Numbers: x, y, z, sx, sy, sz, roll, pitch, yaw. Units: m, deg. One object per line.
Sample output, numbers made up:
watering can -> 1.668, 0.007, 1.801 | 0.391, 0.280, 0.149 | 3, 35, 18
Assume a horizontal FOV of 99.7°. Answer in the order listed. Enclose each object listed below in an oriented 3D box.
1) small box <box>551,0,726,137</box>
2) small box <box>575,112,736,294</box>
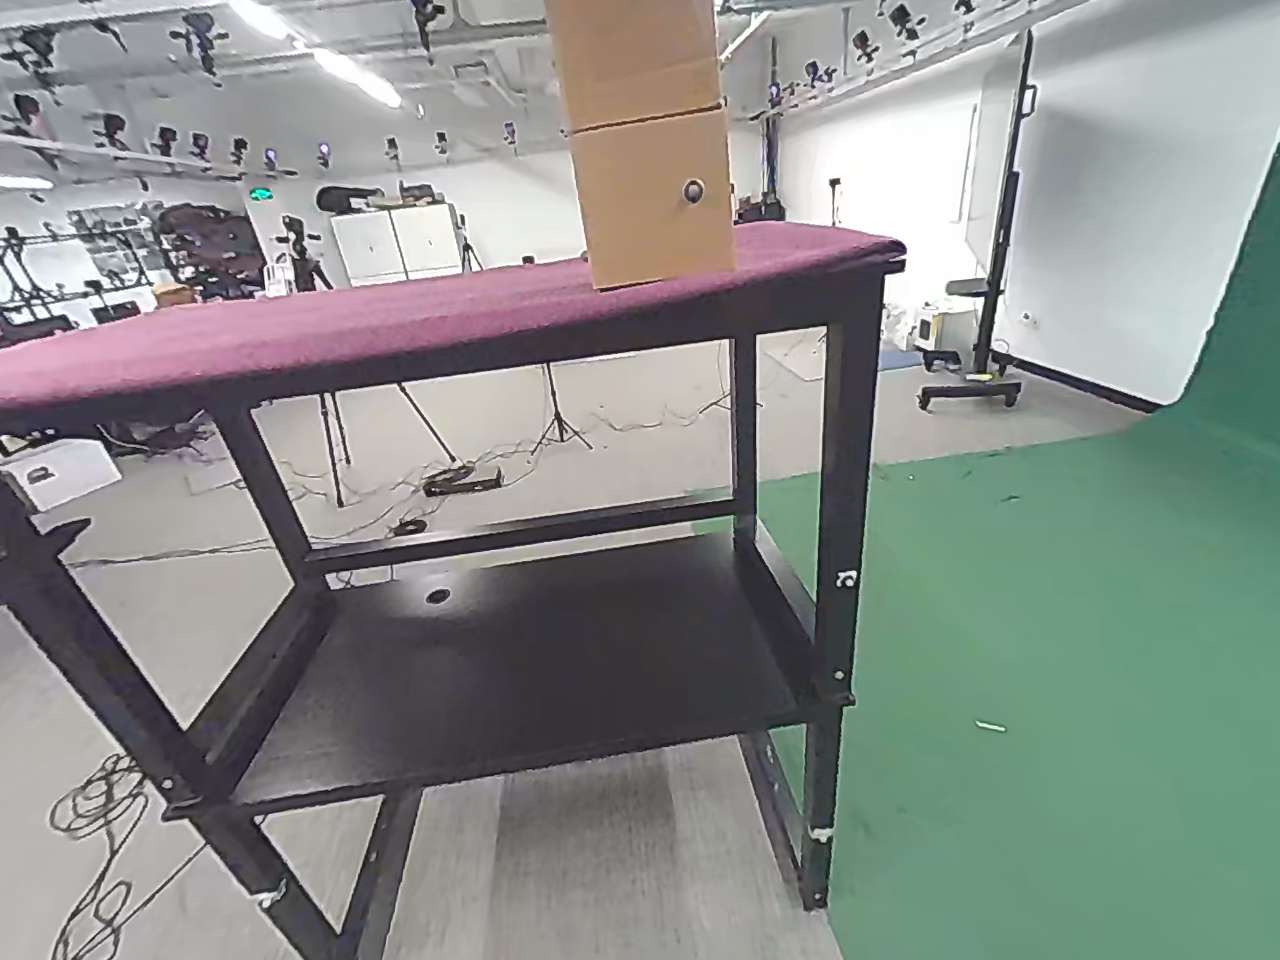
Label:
small box -> 0.001, -0.493, 0.630 | 0.179, 0.176, 0.168 | -5, 24, 5
small box -> 0.024, -0.344, 0.691 | 0.179, 0.176, 0.168 | -8, 24, 3
